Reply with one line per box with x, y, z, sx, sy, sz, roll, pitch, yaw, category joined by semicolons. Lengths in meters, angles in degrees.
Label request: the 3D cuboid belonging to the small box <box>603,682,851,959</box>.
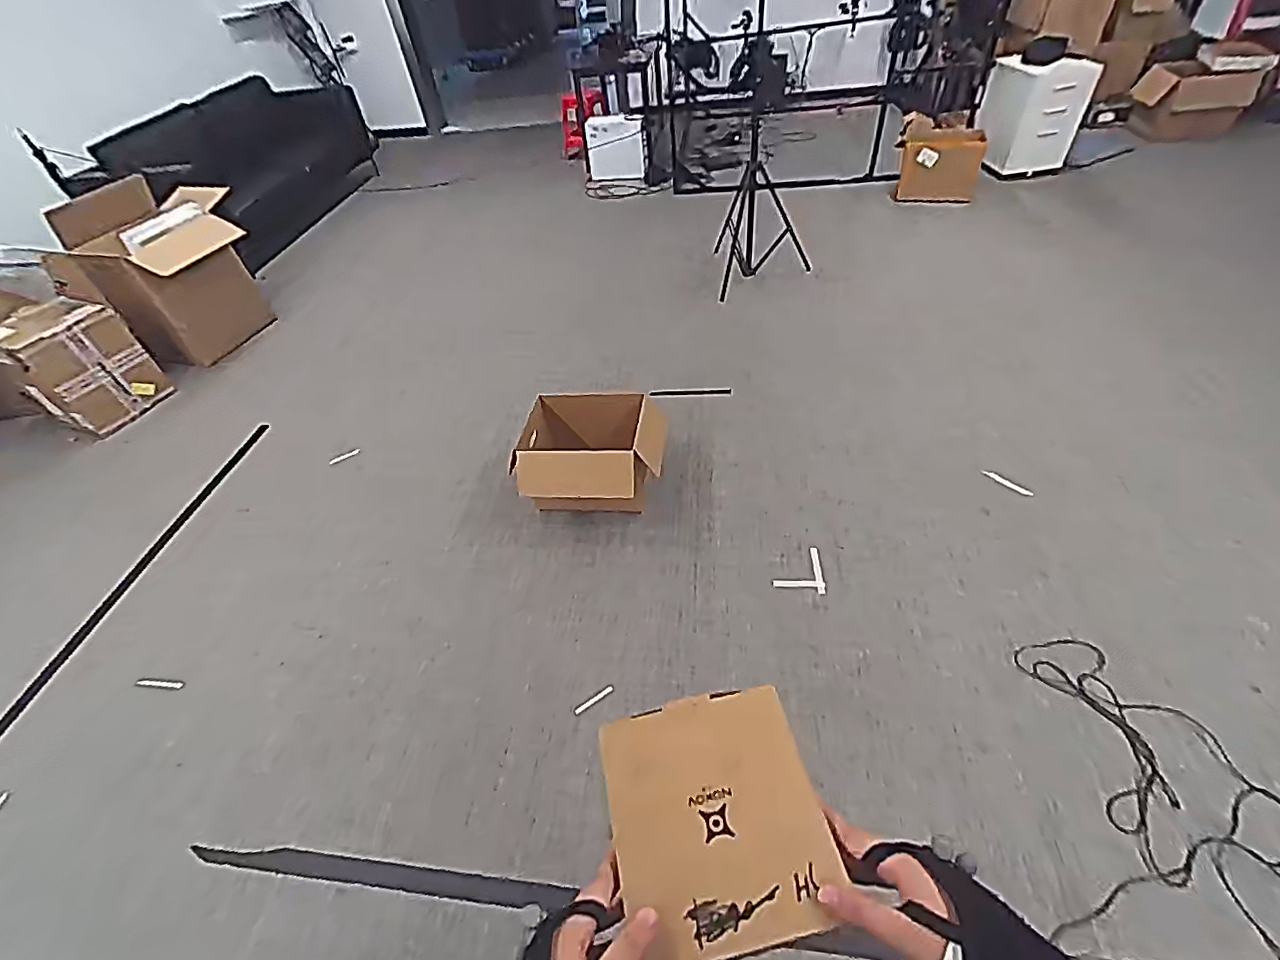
0.066;0.318;0.502;0.168;0.176;0.179;-12;49;-3;small box
